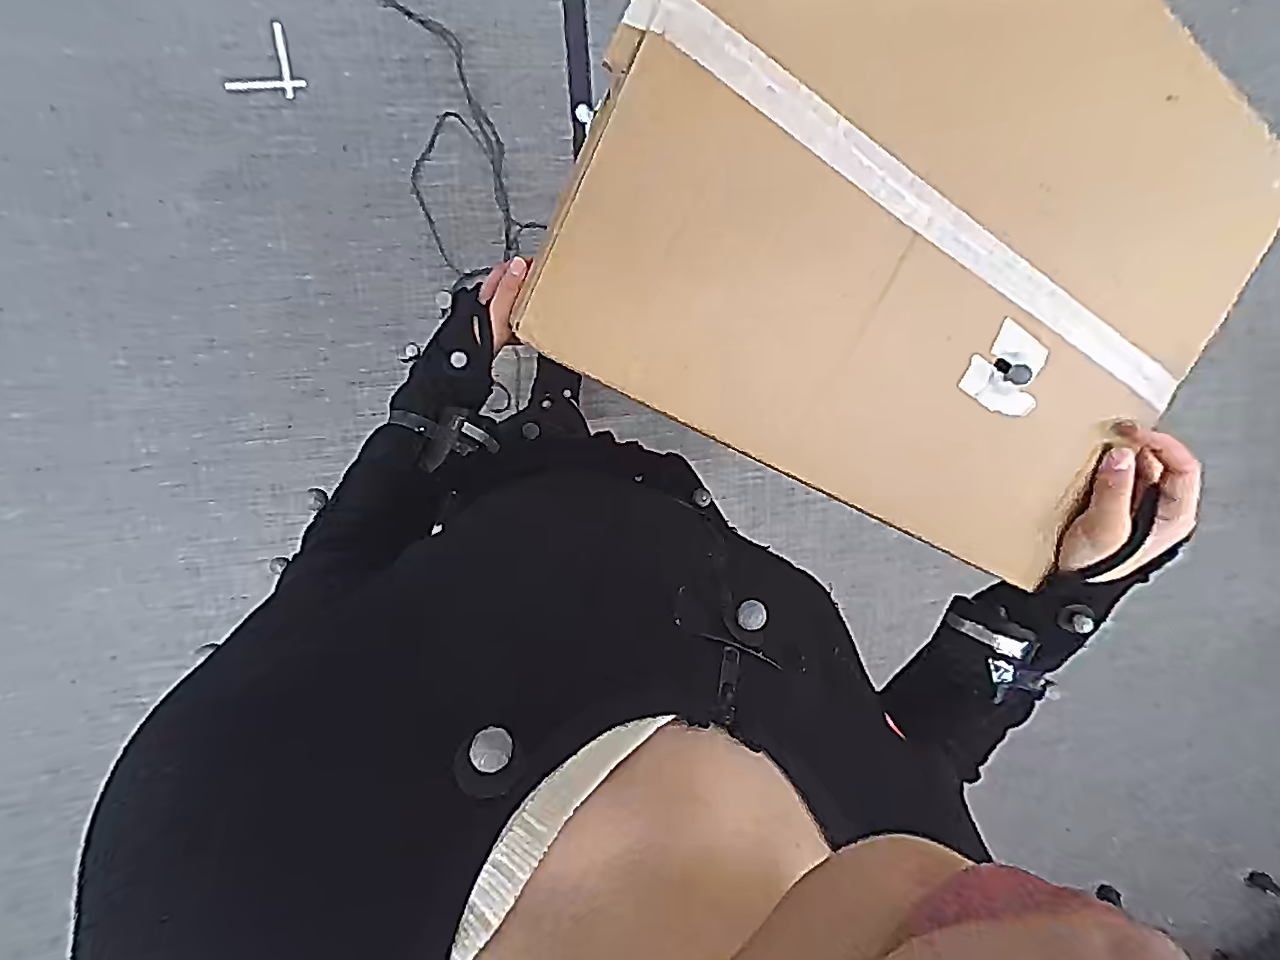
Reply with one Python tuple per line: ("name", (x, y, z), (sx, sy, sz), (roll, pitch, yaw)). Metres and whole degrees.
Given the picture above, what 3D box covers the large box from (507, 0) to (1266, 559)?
("large box", (0.137, -0.184, 0.447), (0.408, 0.320, 0.320), (22, 100, -20))
